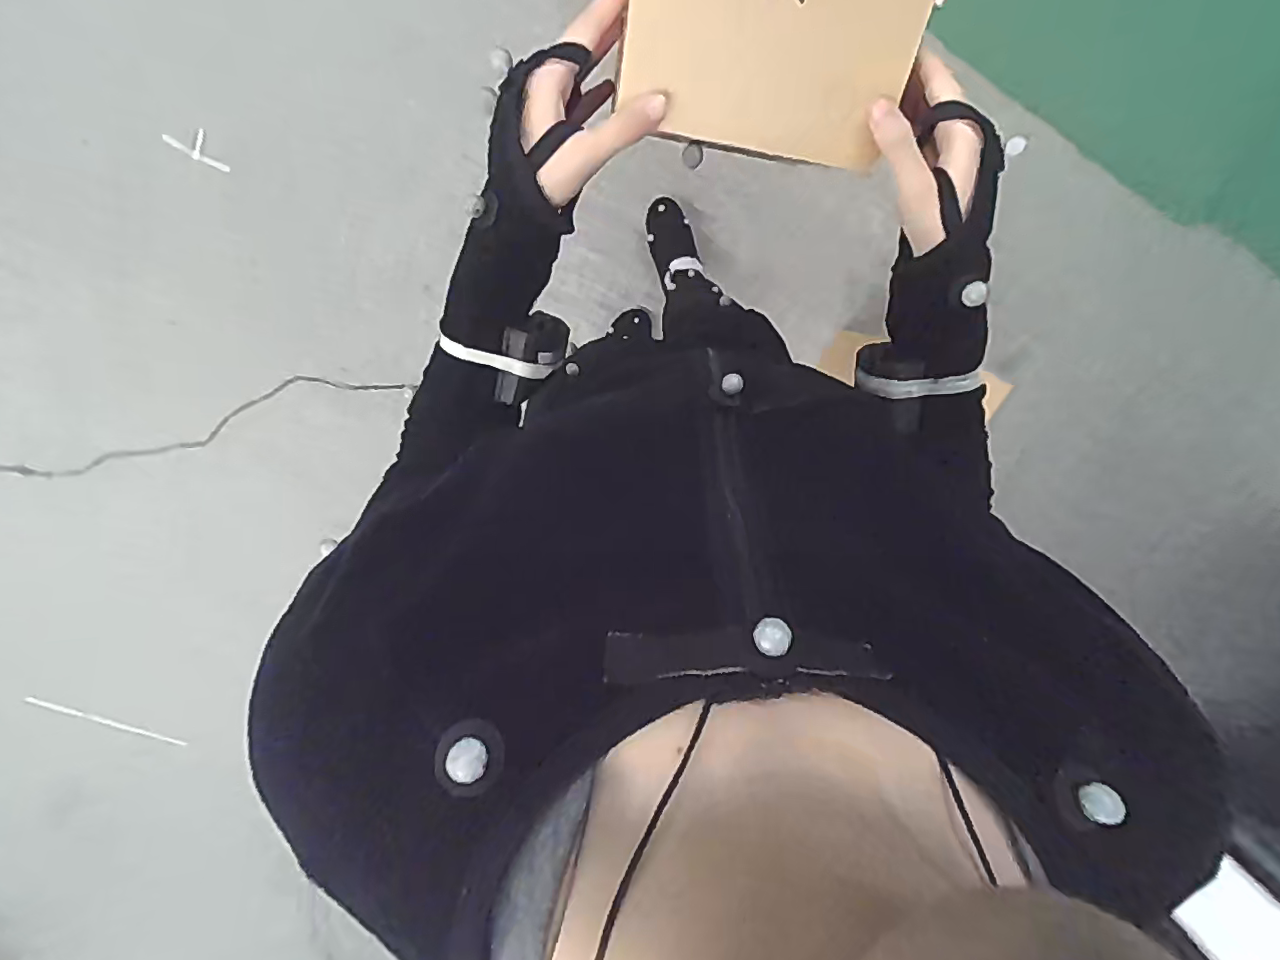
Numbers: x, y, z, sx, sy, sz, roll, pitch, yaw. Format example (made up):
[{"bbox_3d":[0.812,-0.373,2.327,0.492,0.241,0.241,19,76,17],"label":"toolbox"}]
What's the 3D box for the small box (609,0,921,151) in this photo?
[{"bbox_3d":[0.073,-0.326,0.348,0.168,0.176,0.179,6,120,-7],"label":"small box"}]
